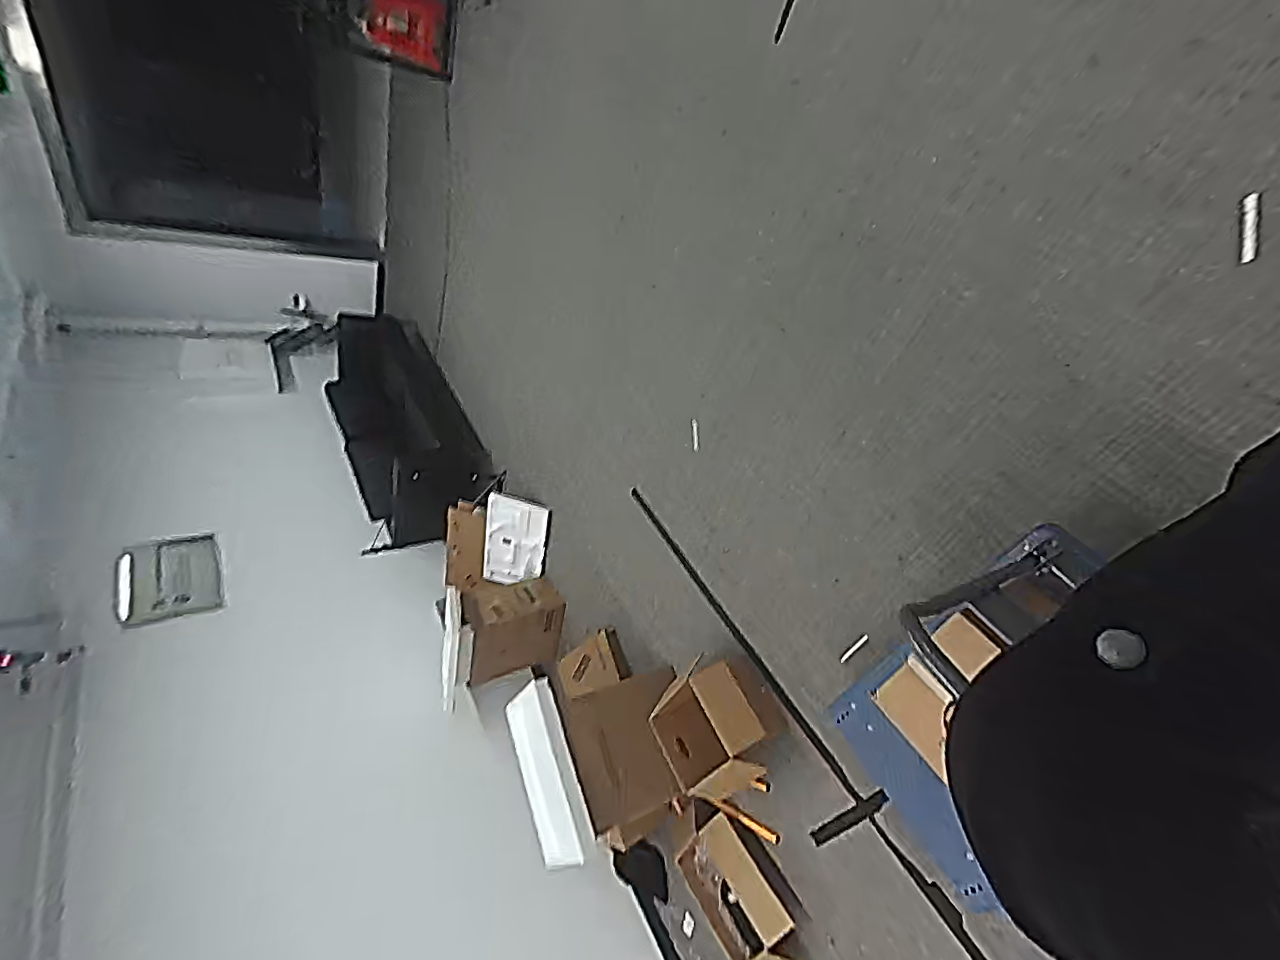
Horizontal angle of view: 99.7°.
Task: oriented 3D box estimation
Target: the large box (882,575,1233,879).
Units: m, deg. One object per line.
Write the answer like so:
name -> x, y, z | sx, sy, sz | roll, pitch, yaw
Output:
large box -> 0.801, 0.462, 1.082 | 0.408, 0.320, 0.320 | 52, 135, 37
